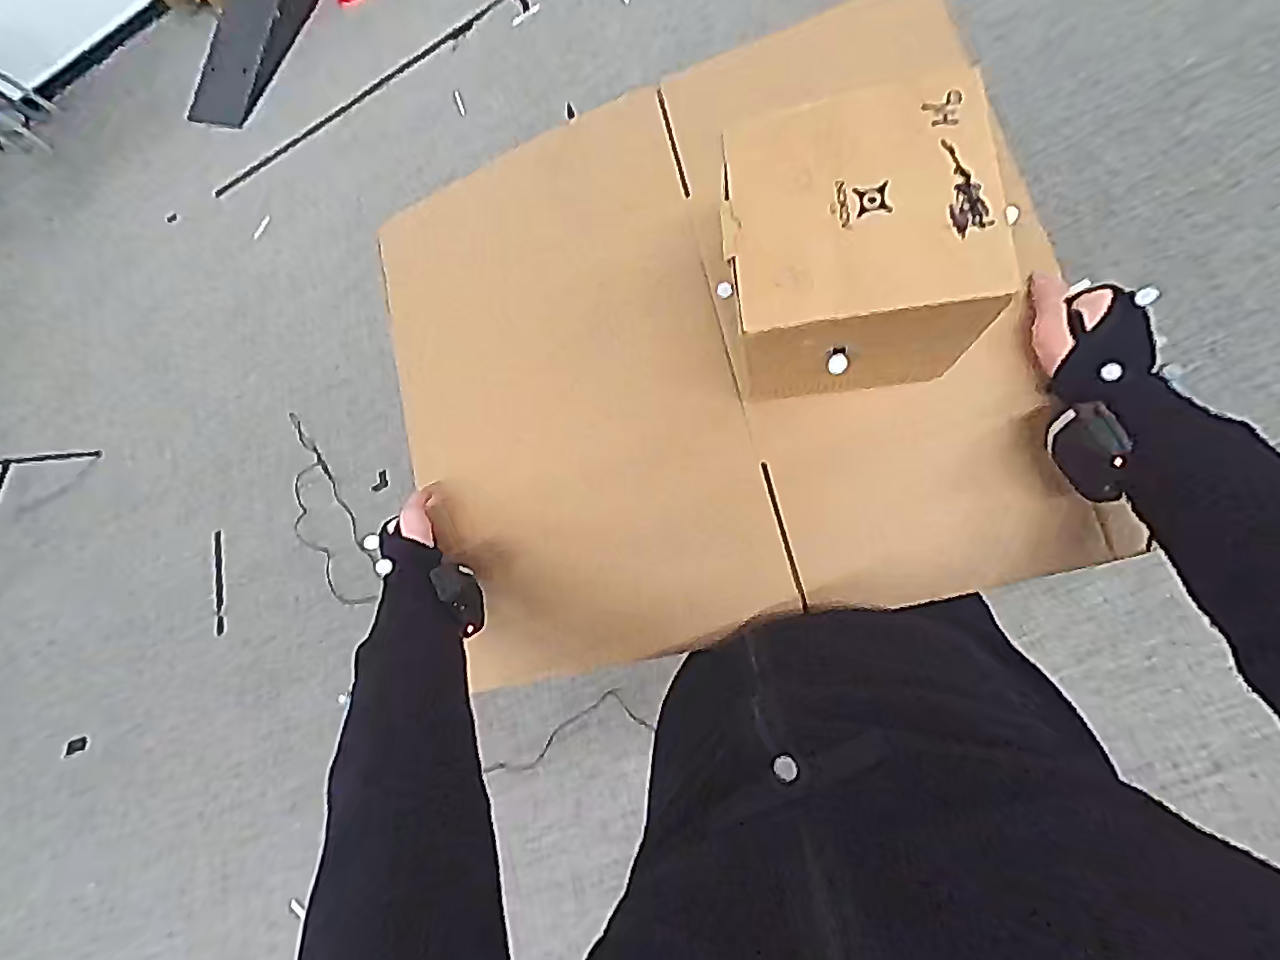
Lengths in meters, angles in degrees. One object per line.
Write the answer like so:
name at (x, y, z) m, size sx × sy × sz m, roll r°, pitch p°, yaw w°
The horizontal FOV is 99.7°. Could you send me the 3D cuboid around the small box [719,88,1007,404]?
small box at (0.168, -0.171, 0.456) m, size 0.179 × 0.176 × 0.168 m, roll -6°, pitch 81°, yaw 13°
